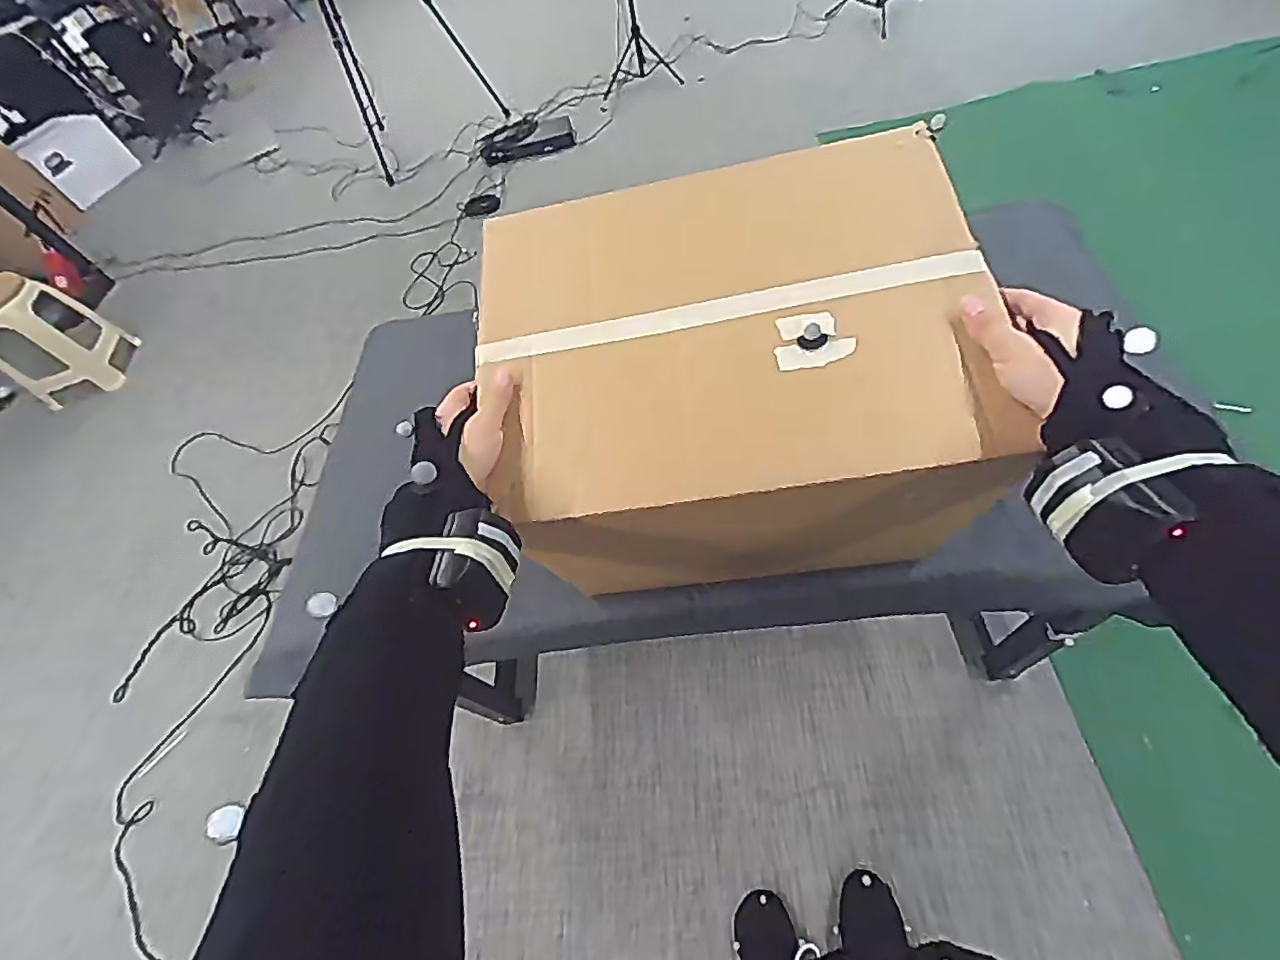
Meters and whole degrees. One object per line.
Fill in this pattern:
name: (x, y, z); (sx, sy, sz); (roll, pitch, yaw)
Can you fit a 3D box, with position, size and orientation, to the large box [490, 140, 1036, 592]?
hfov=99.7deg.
large box: (0.088, -0.081, 0.584); (0.408, 0.320, 0.320); (-8, 68, 7)
